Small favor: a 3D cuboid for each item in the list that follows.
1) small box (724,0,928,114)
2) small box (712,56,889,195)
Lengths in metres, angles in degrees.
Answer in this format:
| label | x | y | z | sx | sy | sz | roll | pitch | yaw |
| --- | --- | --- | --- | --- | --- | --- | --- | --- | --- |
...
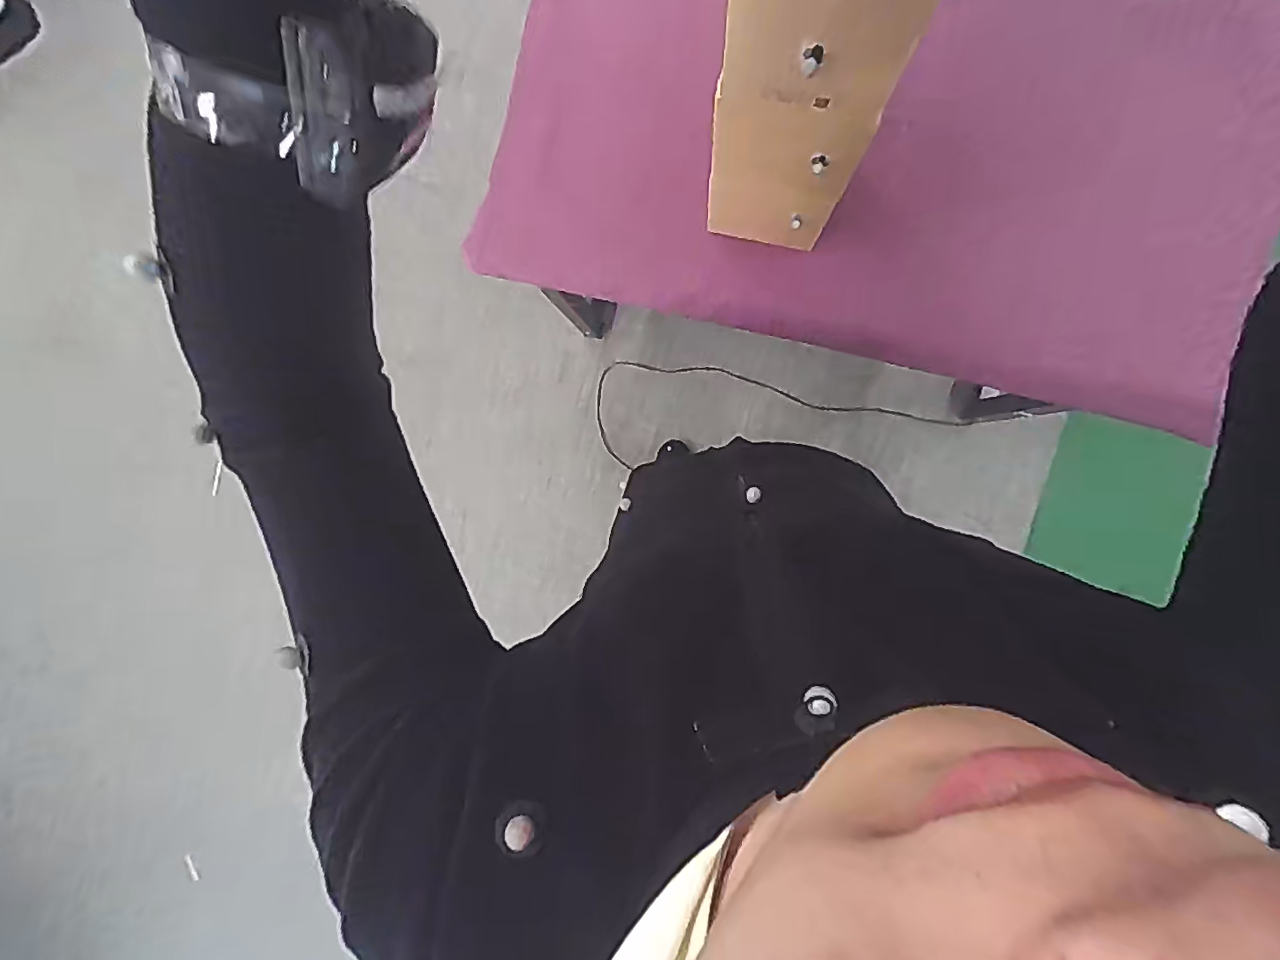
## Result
| label | x | y | z | sx | sy | sz | roll | pitch | yaw |
| --- | --- | --- | --- | --- | --- | --- | --- | --- | --- |
| small box | 0.173 | -0.469 | 0.479 | 0.168 | 0.176 | 0.179 | 13 | 93 | 5 |
| small box | 0.190 | -0.467 | 0.641 | 0.179 | 0.176 | 0.168 | 15 | 93 | 6 |
